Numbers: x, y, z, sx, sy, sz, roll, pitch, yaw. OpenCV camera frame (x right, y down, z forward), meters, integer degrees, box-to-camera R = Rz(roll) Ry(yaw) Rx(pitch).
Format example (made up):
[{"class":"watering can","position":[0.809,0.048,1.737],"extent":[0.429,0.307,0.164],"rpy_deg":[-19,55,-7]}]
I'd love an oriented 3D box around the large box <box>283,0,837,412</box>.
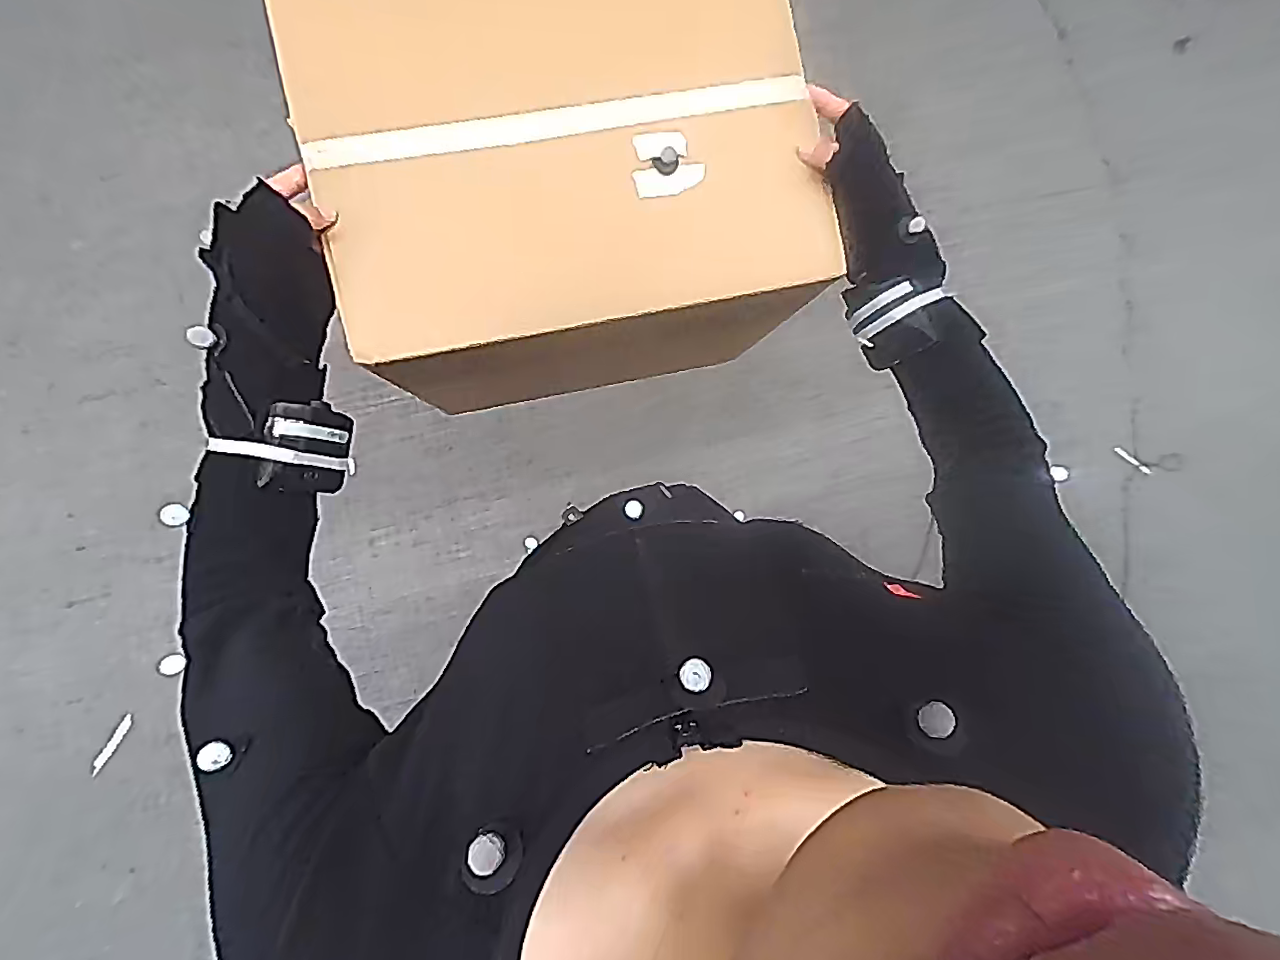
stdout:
[{"class":"large box","position":[-0.073,-0.285,0.589],"extent":[0.408,0.320,0.320],"rpy_deg":[-13,92,-8]}]
